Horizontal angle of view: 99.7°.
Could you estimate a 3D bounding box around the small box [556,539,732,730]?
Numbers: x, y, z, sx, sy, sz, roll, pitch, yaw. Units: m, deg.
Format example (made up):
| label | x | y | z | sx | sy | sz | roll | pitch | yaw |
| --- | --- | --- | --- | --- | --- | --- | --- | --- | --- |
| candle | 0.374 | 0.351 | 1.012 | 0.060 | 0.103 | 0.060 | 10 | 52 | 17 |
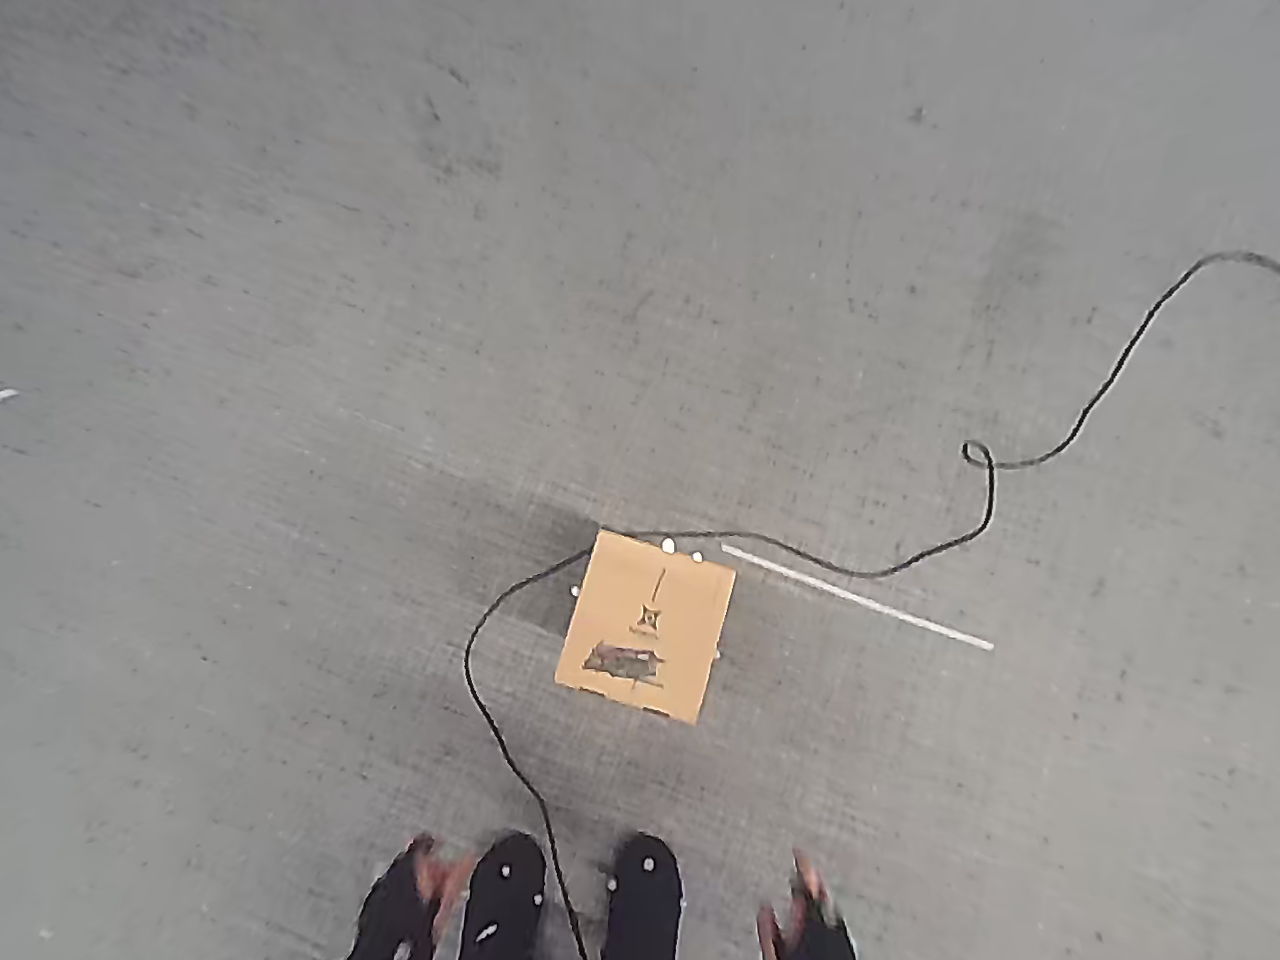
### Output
| label | x | y | z | sx | sy | sz | roll | pitch | yaw |
| --- | --- | --- | --- | --- | --- | --- | --- | --- | --- |
| small box | 0.007 | 0.186 | 0.691 | 0.168 | 0.176 | 0.179 | 16 | 80 | 2 |
